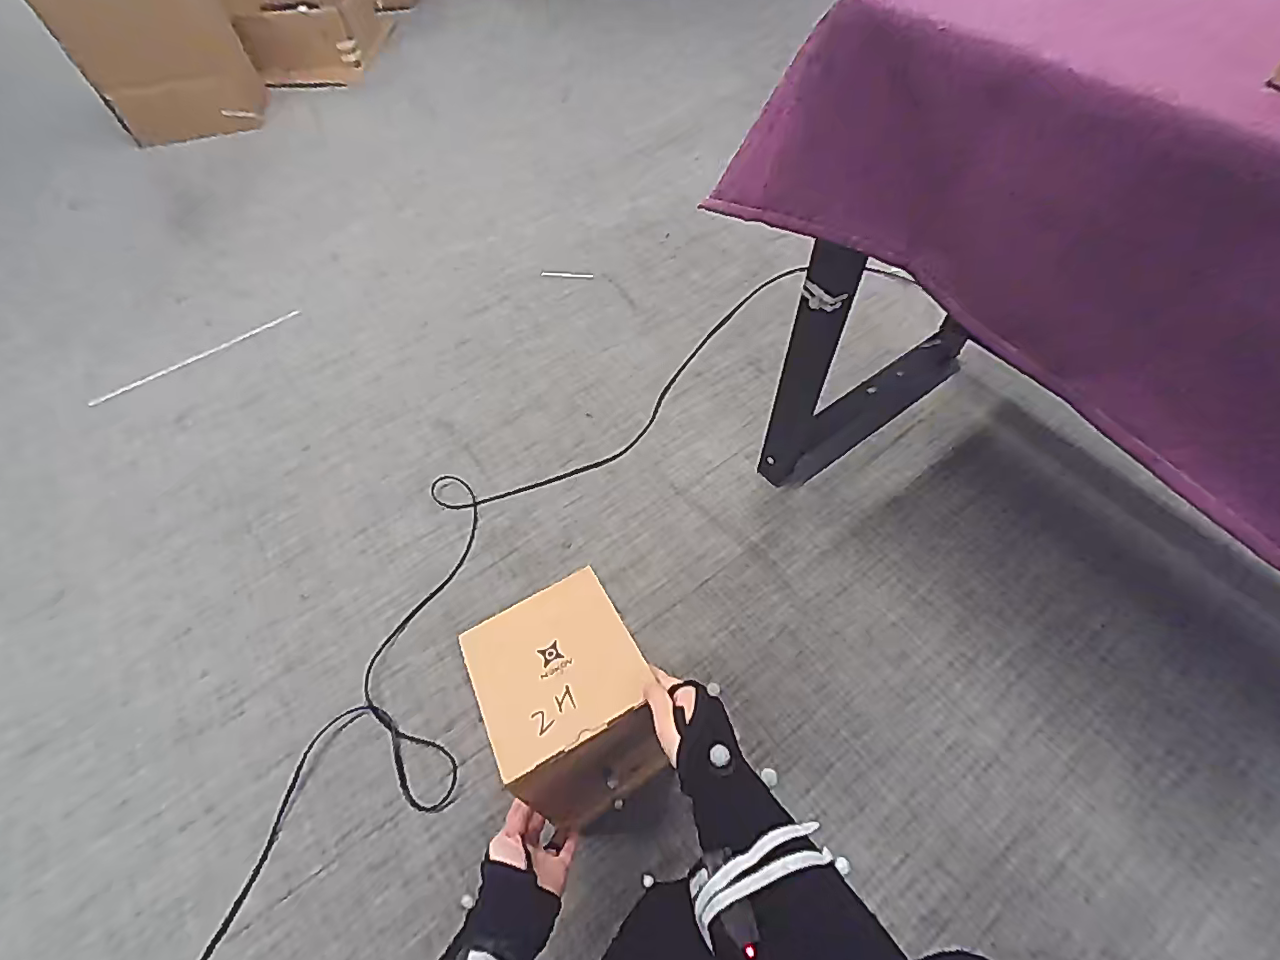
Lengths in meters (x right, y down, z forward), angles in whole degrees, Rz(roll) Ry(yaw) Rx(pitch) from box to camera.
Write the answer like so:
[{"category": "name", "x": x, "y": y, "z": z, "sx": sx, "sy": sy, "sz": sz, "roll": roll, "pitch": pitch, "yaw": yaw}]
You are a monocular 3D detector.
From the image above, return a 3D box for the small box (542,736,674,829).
[{"category": "small box", "x": -0.067, "y": 0.357, "z": 0.755, "sx": 0.179, "sy": 0.176, "sz": 0.168, "roll": -29, "pitch": 61, "yaw": -17}]

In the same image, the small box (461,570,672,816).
[{"category": "small box", "x": -0.078, "y": 0.242, "z": 0.617, "sx": 0.168, "sy": 0.176, "sz": 0.179, "roll": -26, "pitch": 49, "yaw": -12}]
